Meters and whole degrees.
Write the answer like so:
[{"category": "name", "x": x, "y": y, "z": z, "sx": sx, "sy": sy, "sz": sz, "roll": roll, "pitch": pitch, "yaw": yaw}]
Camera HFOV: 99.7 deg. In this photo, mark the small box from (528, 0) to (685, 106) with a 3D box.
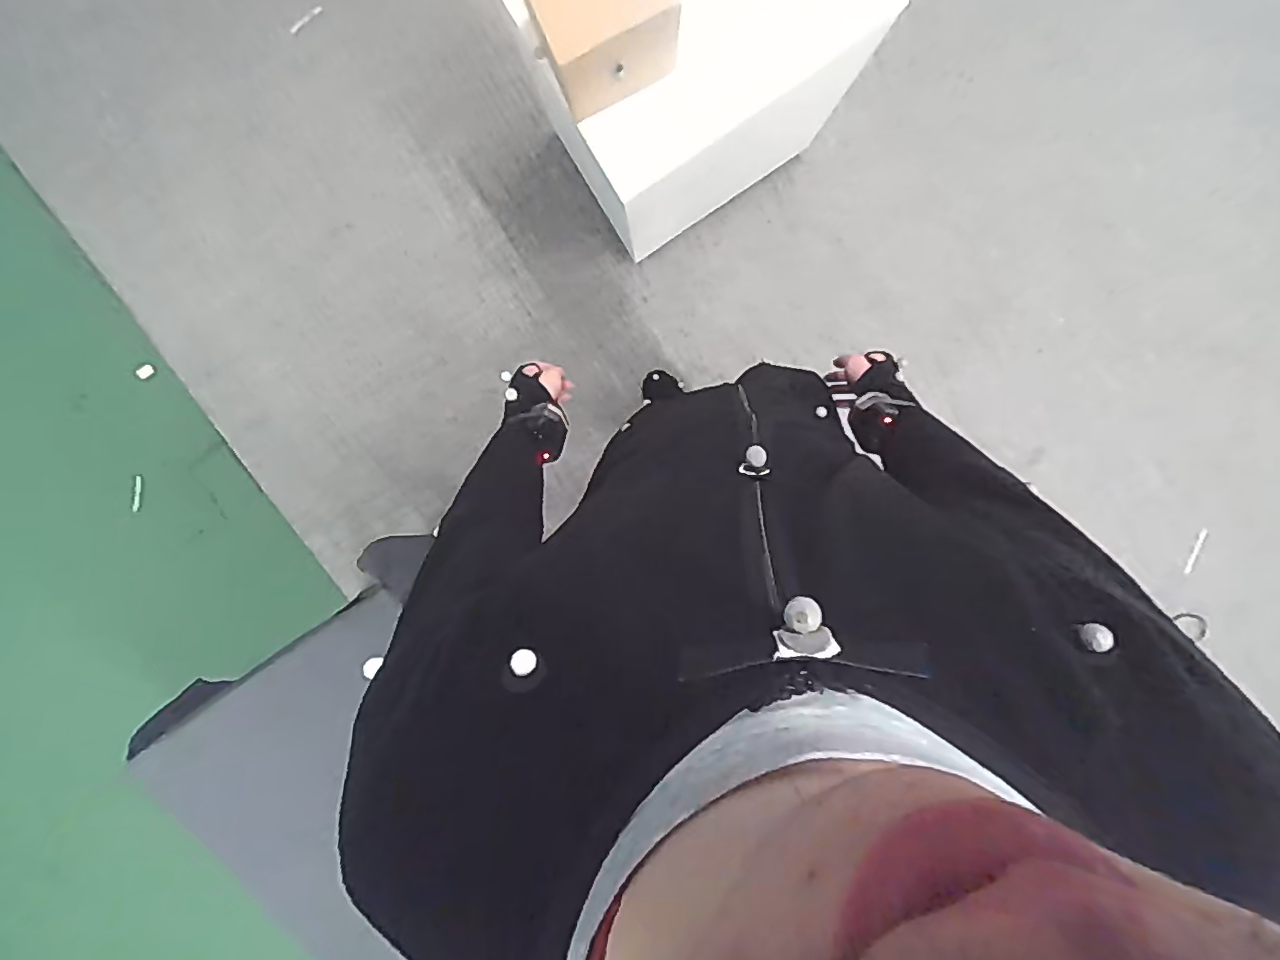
[{"category": "small box", "x": -0.055, "y": -0.651, "z": 0.720, "sx": 0.179, "sy": 0.176, "sz": 0.168, "roll": -24, "pitch": 101, "yaw": 5}]
